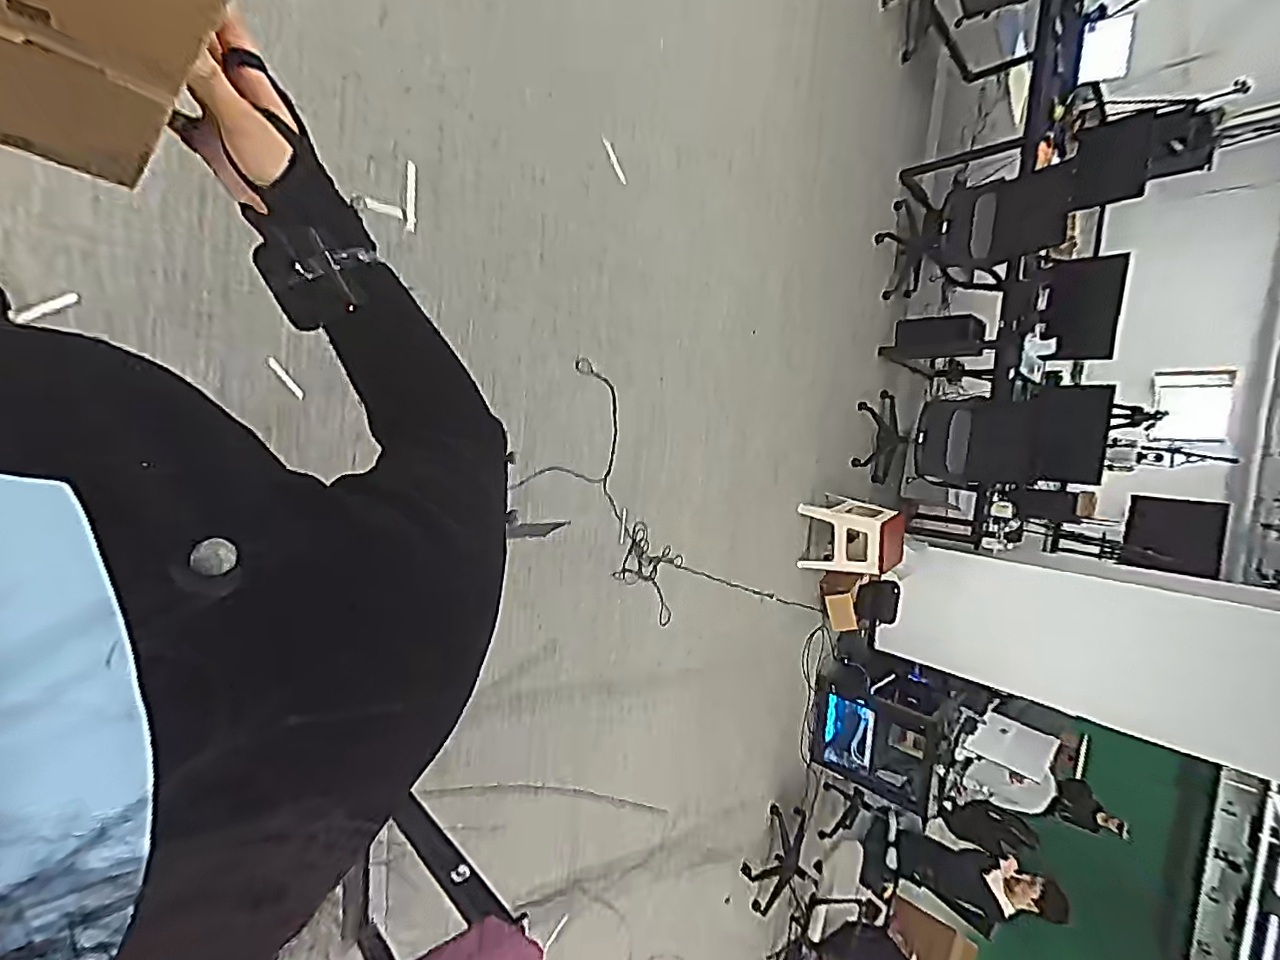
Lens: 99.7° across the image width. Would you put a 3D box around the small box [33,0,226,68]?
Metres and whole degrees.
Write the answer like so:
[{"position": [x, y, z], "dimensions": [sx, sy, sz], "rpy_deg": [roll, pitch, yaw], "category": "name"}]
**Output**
[{"position": [-0.252, -0.319, 0.210], "dimensions": [0.168, 0.176, 0.179], "rpy_deg": [4, 89, -51], "category": "small box"}]
